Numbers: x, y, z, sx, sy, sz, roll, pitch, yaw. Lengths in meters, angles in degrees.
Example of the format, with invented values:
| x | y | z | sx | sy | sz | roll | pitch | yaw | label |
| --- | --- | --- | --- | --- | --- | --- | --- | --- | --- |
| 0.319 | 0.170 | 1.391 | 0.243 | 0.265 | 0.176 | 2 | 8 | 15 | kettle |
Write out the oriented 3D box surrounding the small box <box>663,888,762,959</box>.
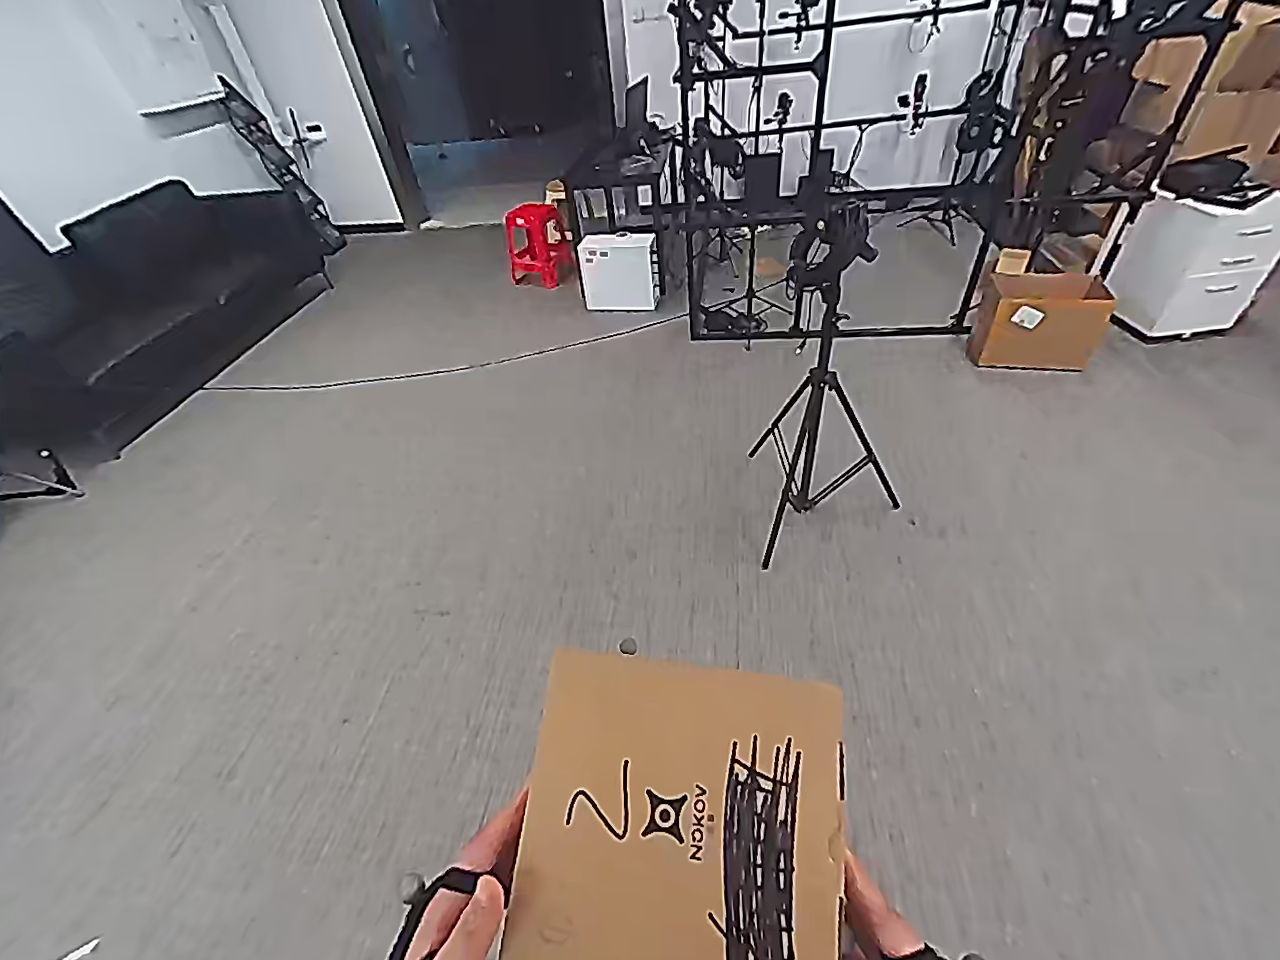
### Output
| x | y | z | sx | sy | sz | roll | pitch | yaw | label |
| --- | --- | --- | --- | --- | --- | --- | --- | --- | --- |
| 0.125 | 0.844 | 0.942 | 0.168 | 0.176 | 0.179 | -1 | 43 | 7 | small box |
